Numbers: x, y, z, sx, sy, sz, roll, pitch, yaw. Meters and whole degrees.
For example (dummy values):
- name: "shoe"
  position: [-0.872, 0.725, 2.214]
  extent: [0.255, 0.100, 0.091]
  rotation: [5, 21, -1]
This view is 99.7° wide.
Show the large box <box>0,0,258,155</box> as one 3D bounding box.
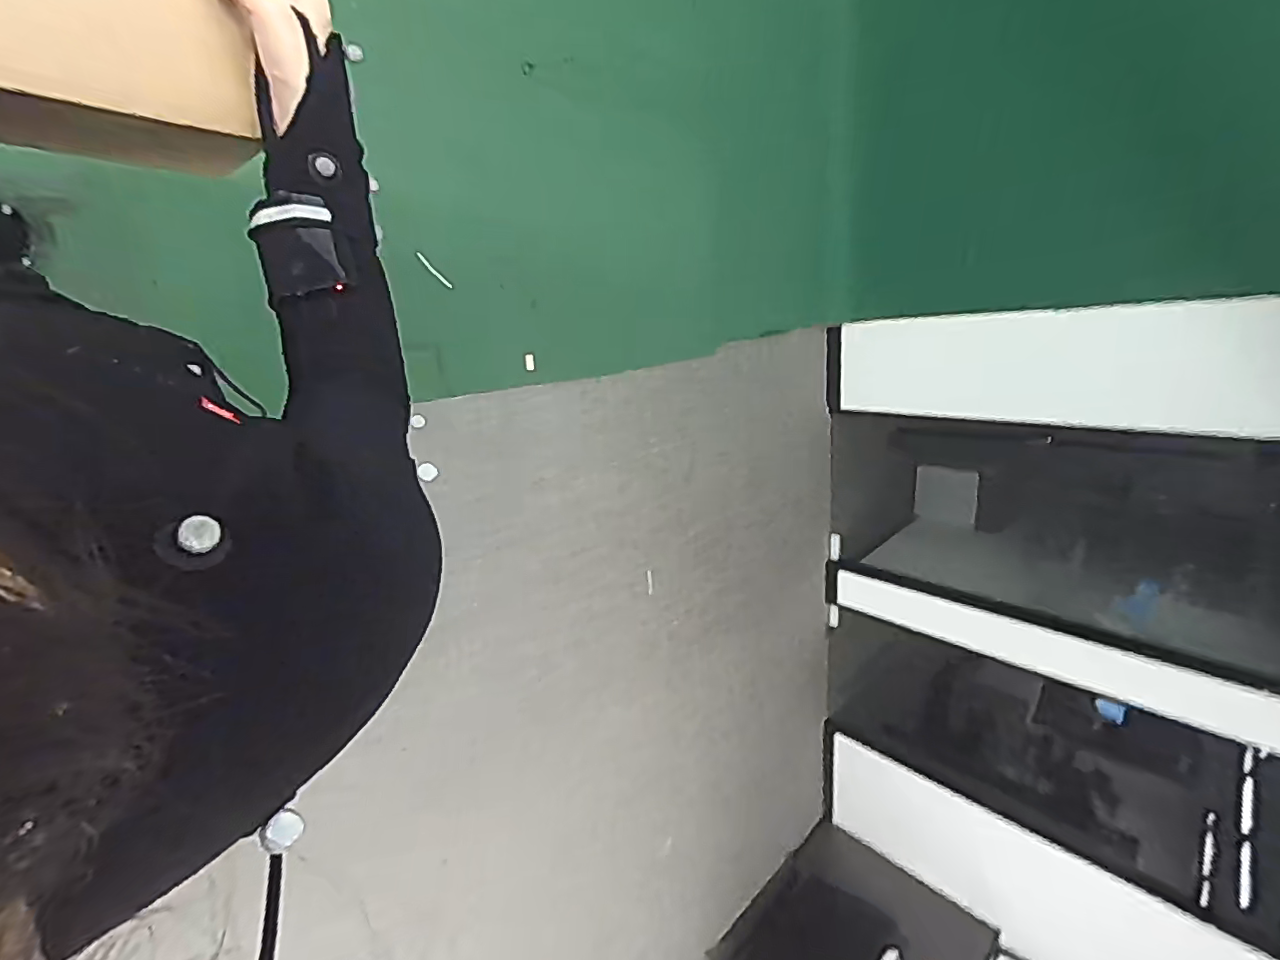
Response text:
- name: "large box"
  position: [-0.519, -0.422, 0.334]
  extent: [0.408, 0.320, 0.320]
  rotation: [-12, 116, -39]
